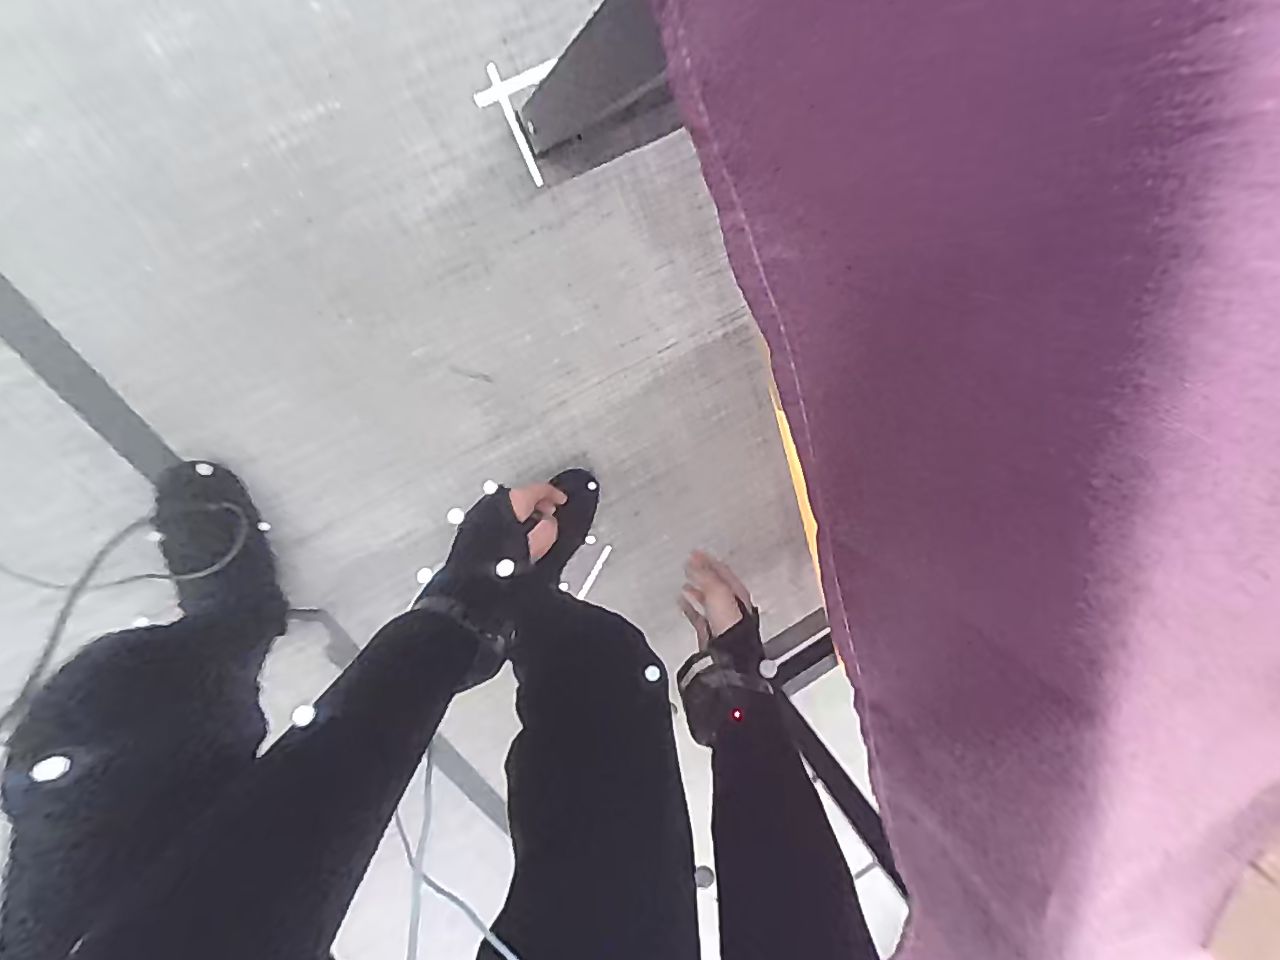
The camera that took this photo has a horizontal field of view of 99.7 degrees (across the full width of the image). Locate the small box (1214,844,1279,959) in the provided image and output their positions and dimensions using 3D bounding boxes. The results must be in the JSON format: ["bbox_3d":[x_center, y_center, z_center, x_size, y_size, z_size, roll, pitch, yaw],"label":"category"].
[{"bbox_3d":[0.584,0.360,0.390,0.168,0.176,0.179,-26,120,-8],"label":"small box"}]
